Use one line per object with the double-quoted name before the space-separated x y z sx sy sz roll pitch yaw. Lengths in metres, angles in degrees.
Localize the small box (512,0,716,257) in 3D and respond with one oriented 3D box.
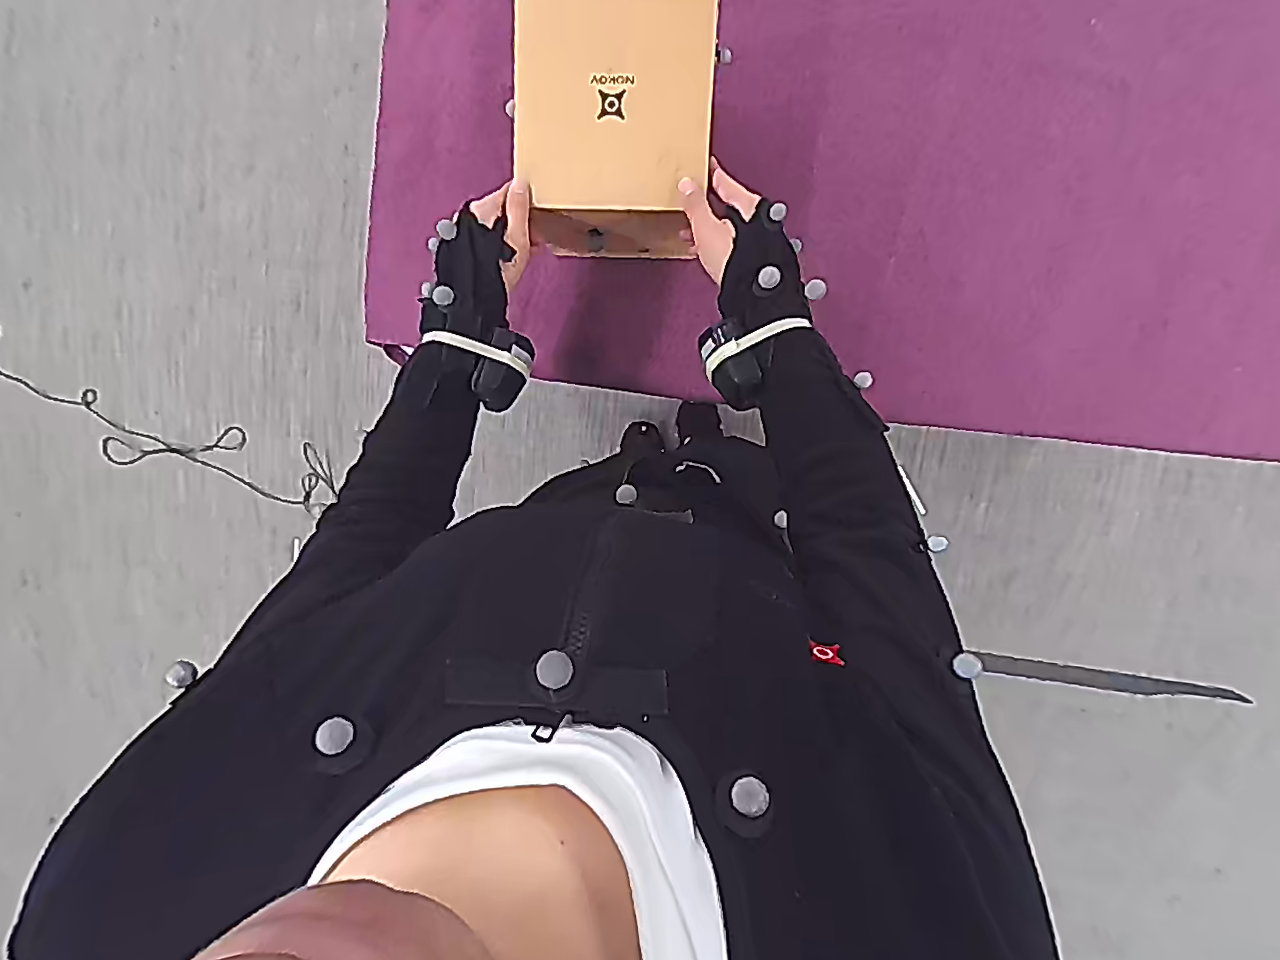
"small box" -0.018 -0.325 0.521 0.168 0.176 0.179 3 98 4
